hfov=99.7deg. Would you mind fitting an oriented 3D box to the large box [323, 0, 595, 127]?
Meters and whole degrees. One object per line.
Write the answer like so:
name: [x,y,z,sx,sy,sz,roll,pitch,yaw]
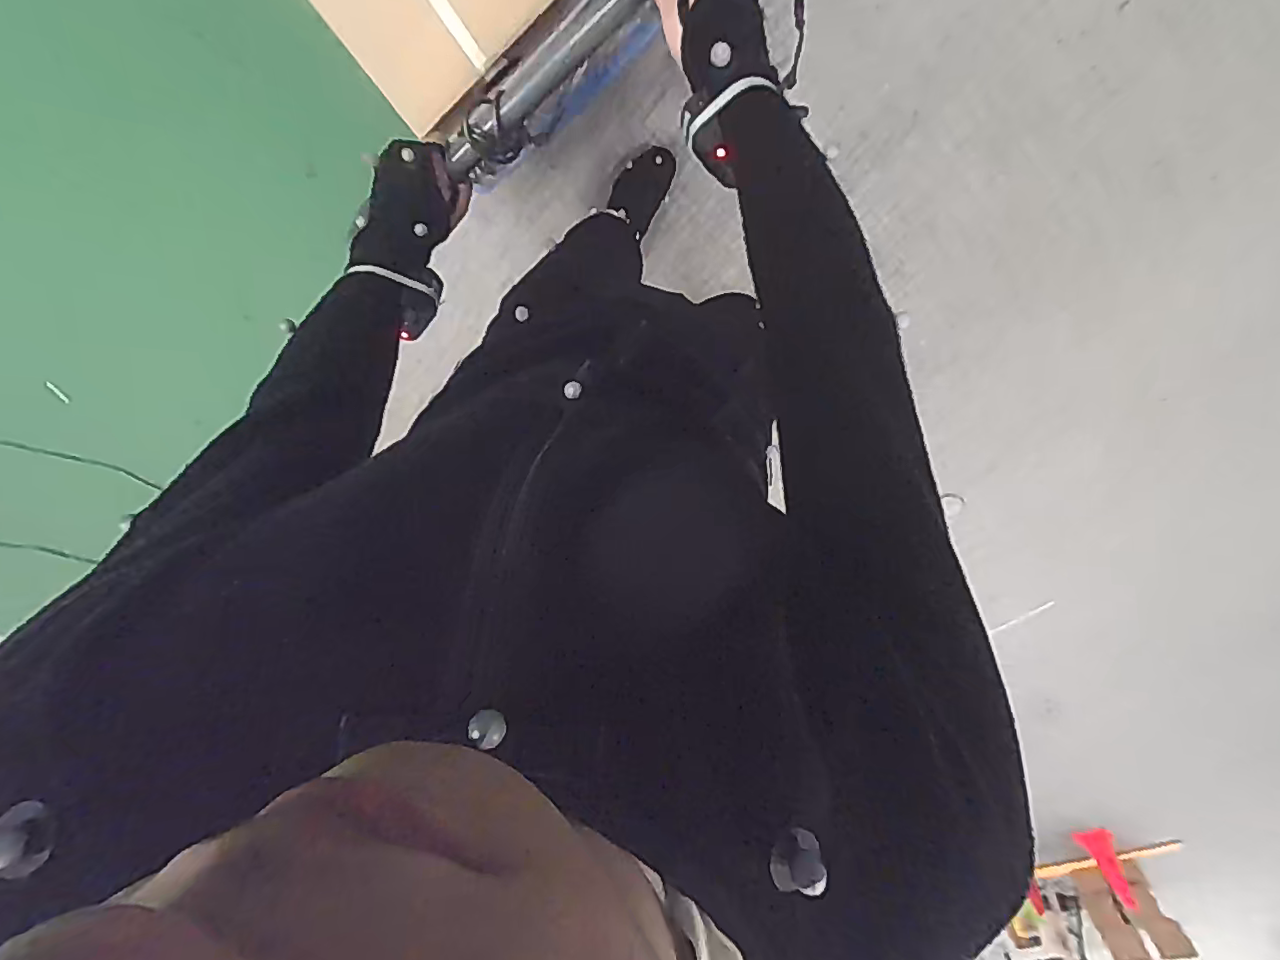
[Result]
large box: [-0.328,-0.854,0.852,0.320,0.320,0.408,-29,118,22]
